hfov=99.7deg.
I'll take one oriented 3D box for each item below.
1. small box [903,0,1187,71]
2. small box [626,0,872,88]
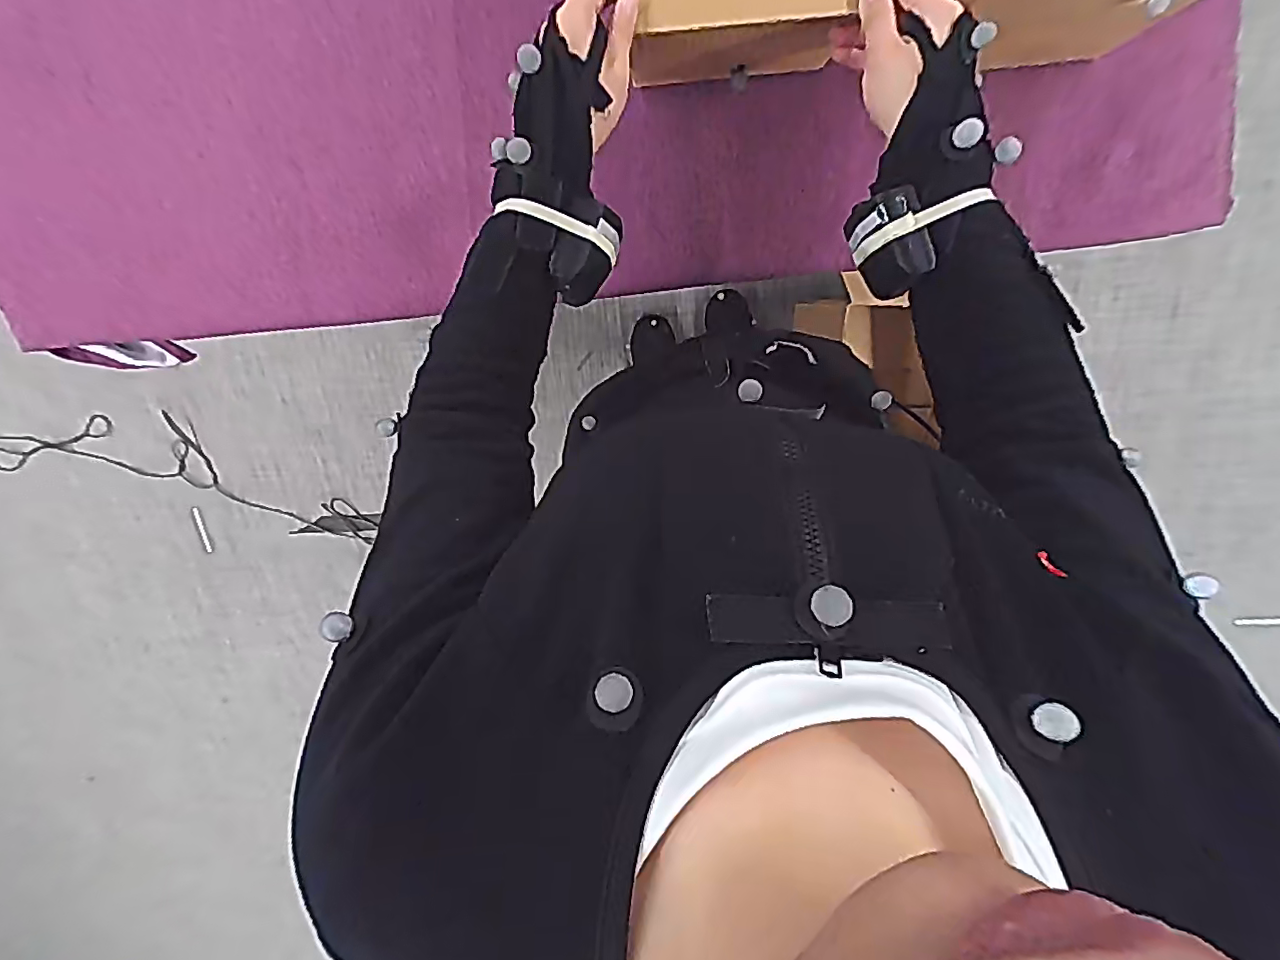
[{"bbox_3d":[0.320,-0.432,0.393,0.179,0.176,0.168,-2,107,4],"label":"small box"},{"bbox_3d":[0.074,-0.419,0.402,0.179,0.176,0.168,-1,114,6],"label":"small box"}]
